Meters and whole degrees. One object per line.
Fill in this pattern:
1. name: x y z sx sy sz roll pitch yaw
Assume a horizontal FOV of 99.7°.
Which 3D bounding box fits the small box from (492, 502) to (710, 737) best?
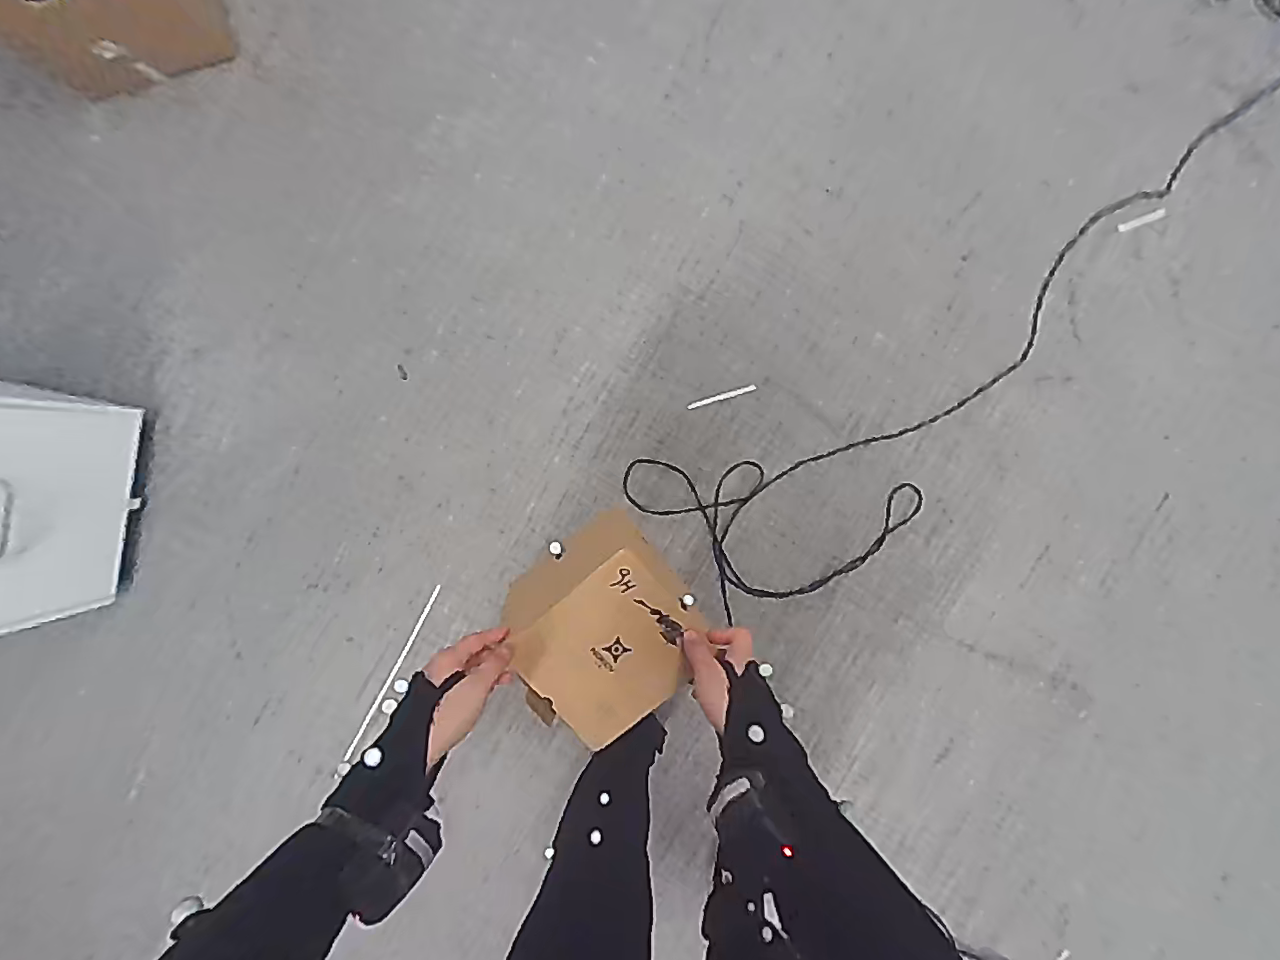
1. small box: -0.045 0.153 0.647 0.179 0.176 0.168 -37 105 4
